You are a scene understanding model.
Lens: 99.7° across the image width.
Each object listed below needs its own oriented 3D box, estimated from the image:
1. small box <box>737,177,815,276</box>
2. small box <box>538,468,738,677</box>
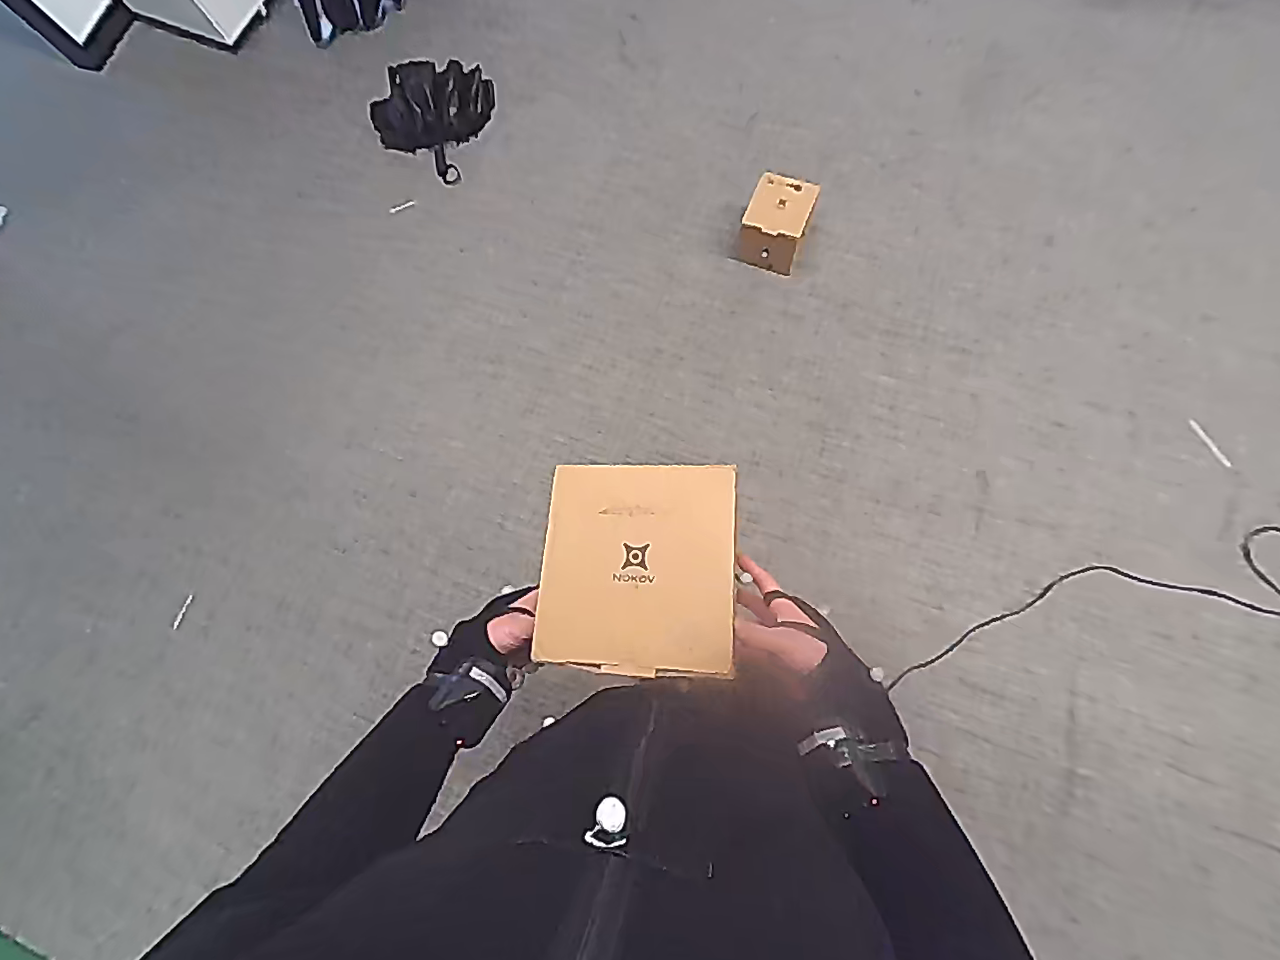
[{"bbox_3d":[0.384,-0.723,1.556,0.168,0.176,0.179,22,80,10],"label":"small box"},{"bbox_3d":[0.012,0.098,0.537,0.168,0.176,0.179,0,70,10],"label":"small box"}]
